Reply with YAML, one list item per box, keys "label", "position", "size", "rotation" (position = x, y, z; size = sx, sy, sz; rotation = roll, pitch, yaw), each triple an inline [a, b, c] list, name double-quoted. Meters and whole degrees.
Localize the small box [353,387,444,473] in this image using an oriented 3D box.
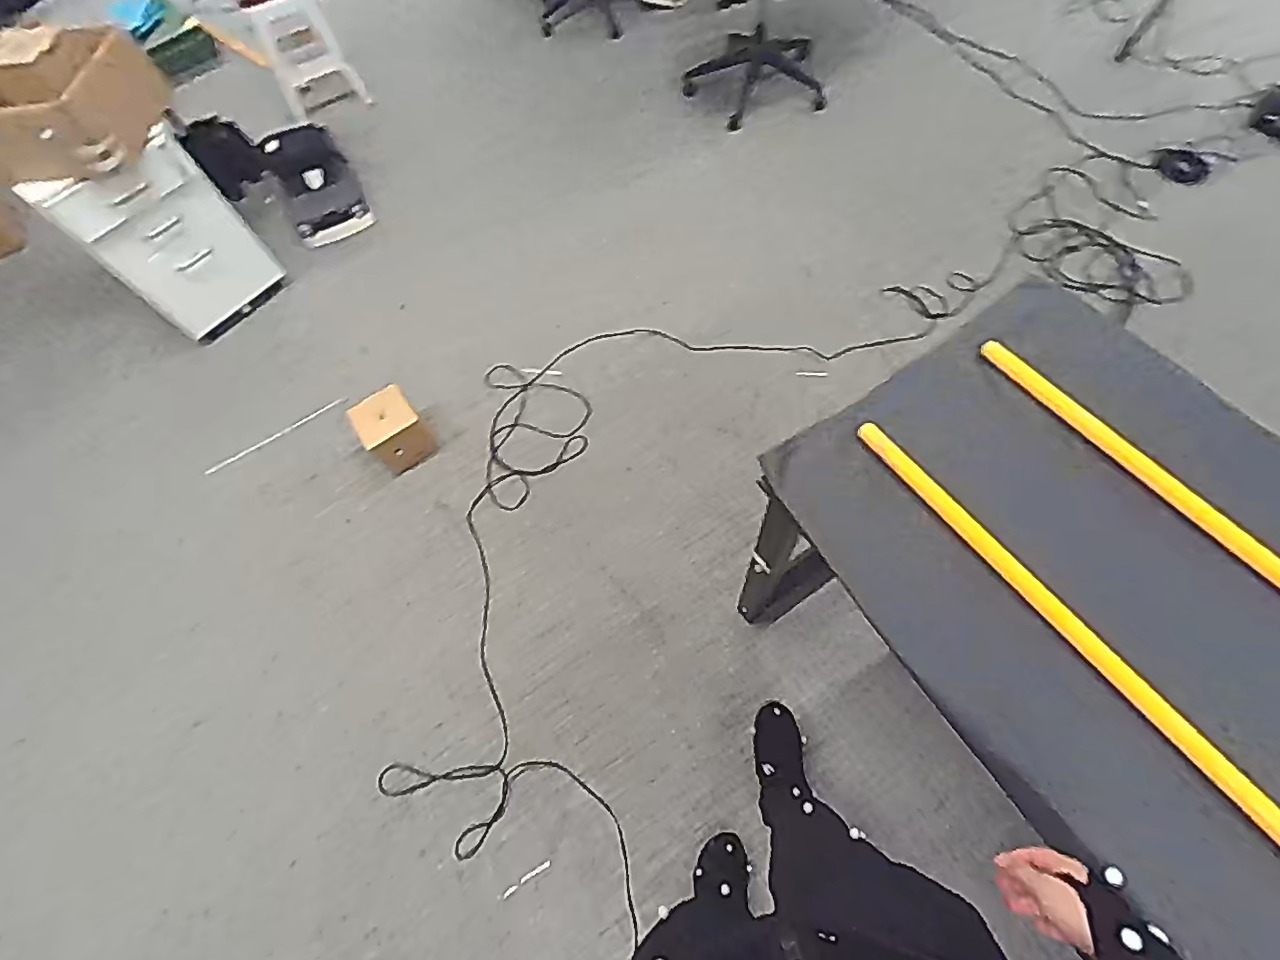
- label: "small box"
  position: [-0.739, -0.145, 1.674]
  size: [0.168, 0.176, 0.179]
  rotation: [-35, 65, -12]
